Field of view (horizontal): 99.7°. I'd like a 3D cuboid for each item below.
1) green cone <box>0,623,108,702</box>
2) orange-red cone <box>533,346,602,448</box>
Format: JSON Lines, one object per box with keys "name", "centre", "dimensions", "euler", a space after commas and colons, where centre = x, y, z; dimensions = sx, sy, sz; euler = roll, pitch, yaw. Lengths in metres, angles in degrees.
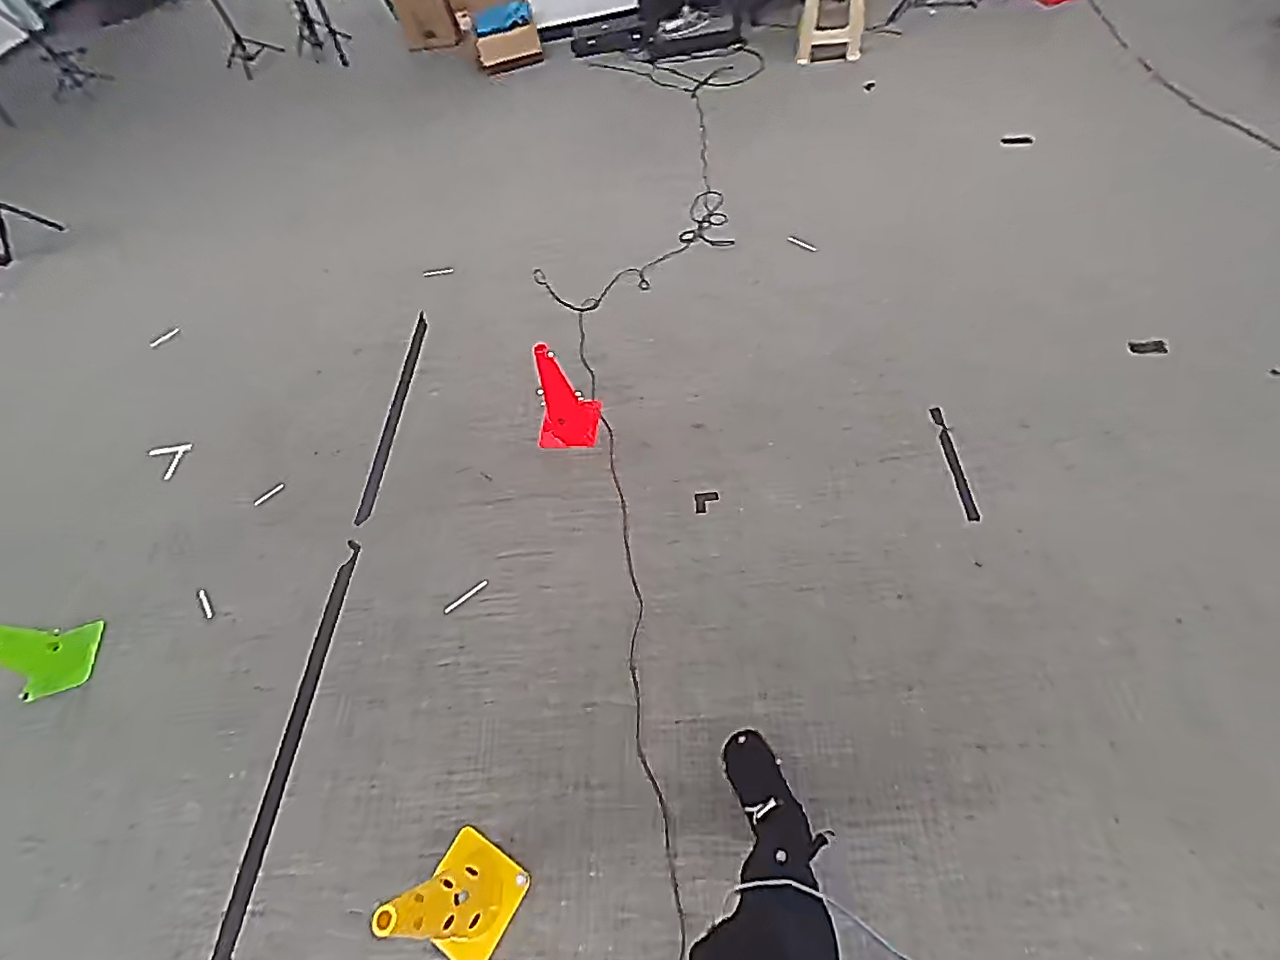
{"name": "green cone", "centre": [-1.768, 0.457, 1.506], "dimensions": [0.200, 0.368, 0.202], "euler": [-18, 55, -3]}
{"name": "orange-red cone", "centre": [-0.264, -0.281, 1.718], "dimensions": [0.198, 0.360, 0.199], "euler": [0, 58, 11]}
